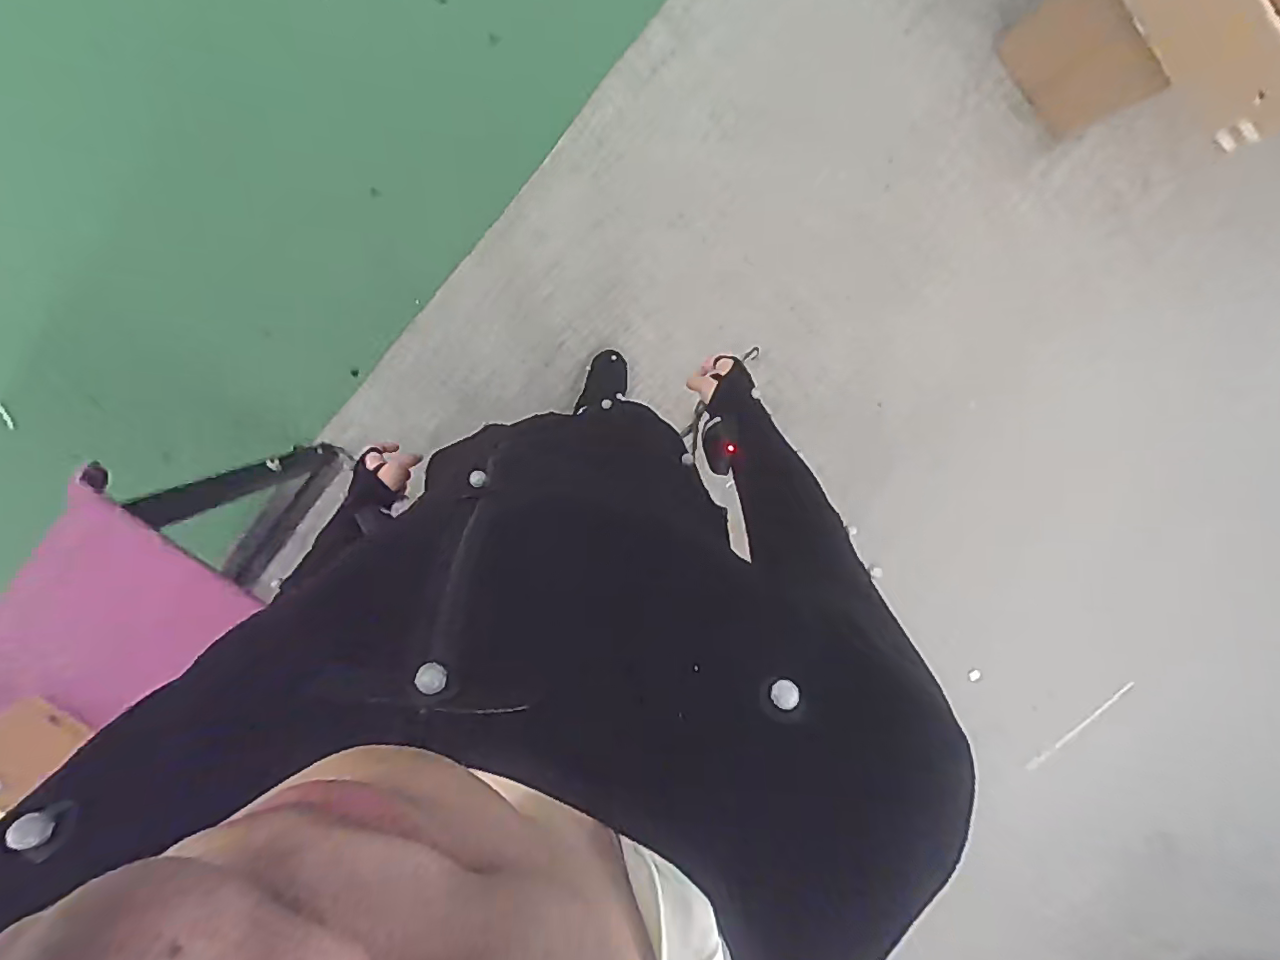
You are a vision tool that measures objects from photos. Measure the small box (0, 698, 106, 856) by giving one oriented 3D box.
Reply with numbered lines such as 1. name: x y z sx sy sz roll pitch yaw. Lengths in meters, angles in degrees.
1. small box: -1.053 0.503 0.883 0.168 0.176 0.179 43 98 -11
